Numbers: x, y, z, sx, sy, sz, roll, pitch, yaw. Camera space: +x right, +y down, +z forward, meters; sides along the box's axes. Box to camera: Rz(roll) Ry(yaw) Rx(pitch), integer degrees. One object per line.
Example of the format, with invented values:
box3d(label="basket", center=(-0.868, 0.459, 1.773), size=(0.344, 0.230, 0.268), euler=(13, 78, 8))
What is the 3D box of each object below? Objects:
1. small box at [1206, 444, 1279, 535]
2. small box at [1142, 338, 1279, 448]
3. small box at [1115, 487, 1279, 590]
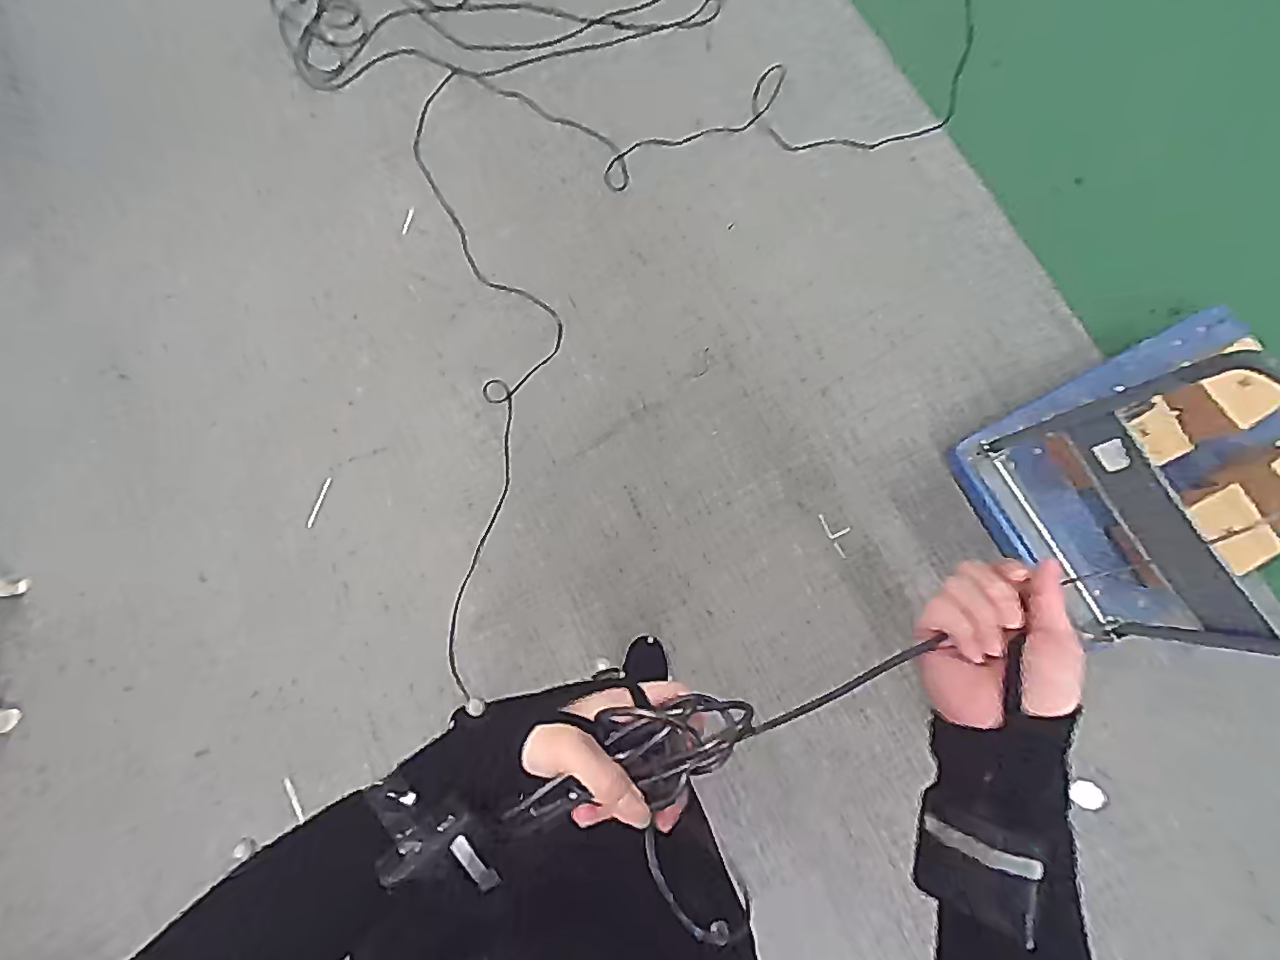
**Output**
box3d(label="small box", center=(1.490, 0.015, 1.241), size=(0.179, 0.176, 0.168), euler=(-30, 80, -4))
box3d(label="small box", center=(1.360, -0.197, 1.283), size=(0.179, 0.176, 0.168), euler=(-30, 81, -6))
box3d(label="small box", center=(1.249, 0.135, 1.219), size=(0.179, 0.176, 0.168), euler=(-26, 80, -4))
